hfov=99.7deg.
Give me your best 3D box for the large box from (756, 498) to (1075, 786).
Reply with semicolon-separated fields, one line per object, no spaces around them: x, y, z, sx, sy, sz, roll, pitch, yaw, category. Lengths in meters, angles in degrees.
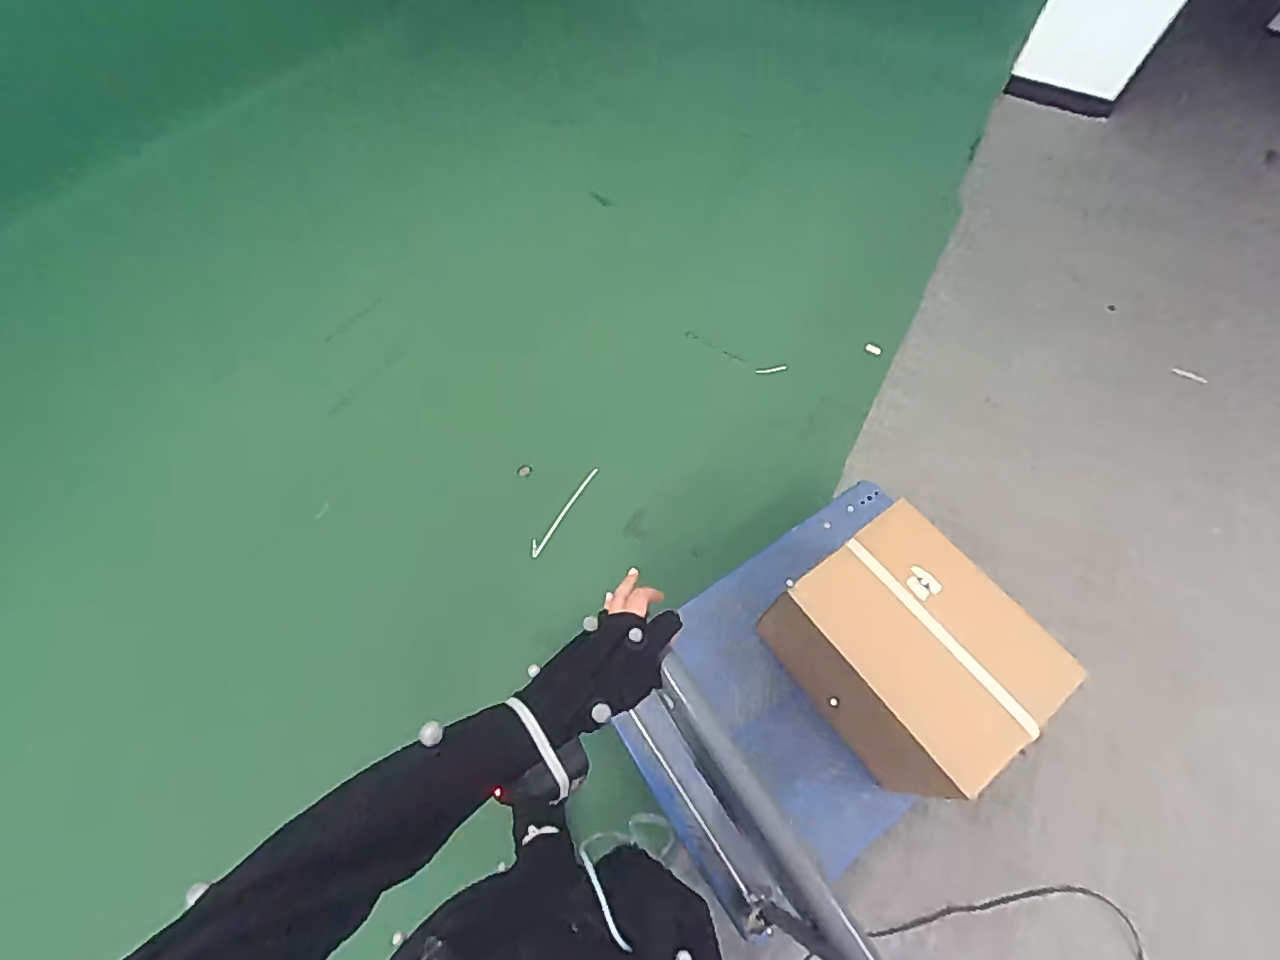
0.497;0.321;1.072;0.320;0.320;0.408;-33;67;-17;large box
